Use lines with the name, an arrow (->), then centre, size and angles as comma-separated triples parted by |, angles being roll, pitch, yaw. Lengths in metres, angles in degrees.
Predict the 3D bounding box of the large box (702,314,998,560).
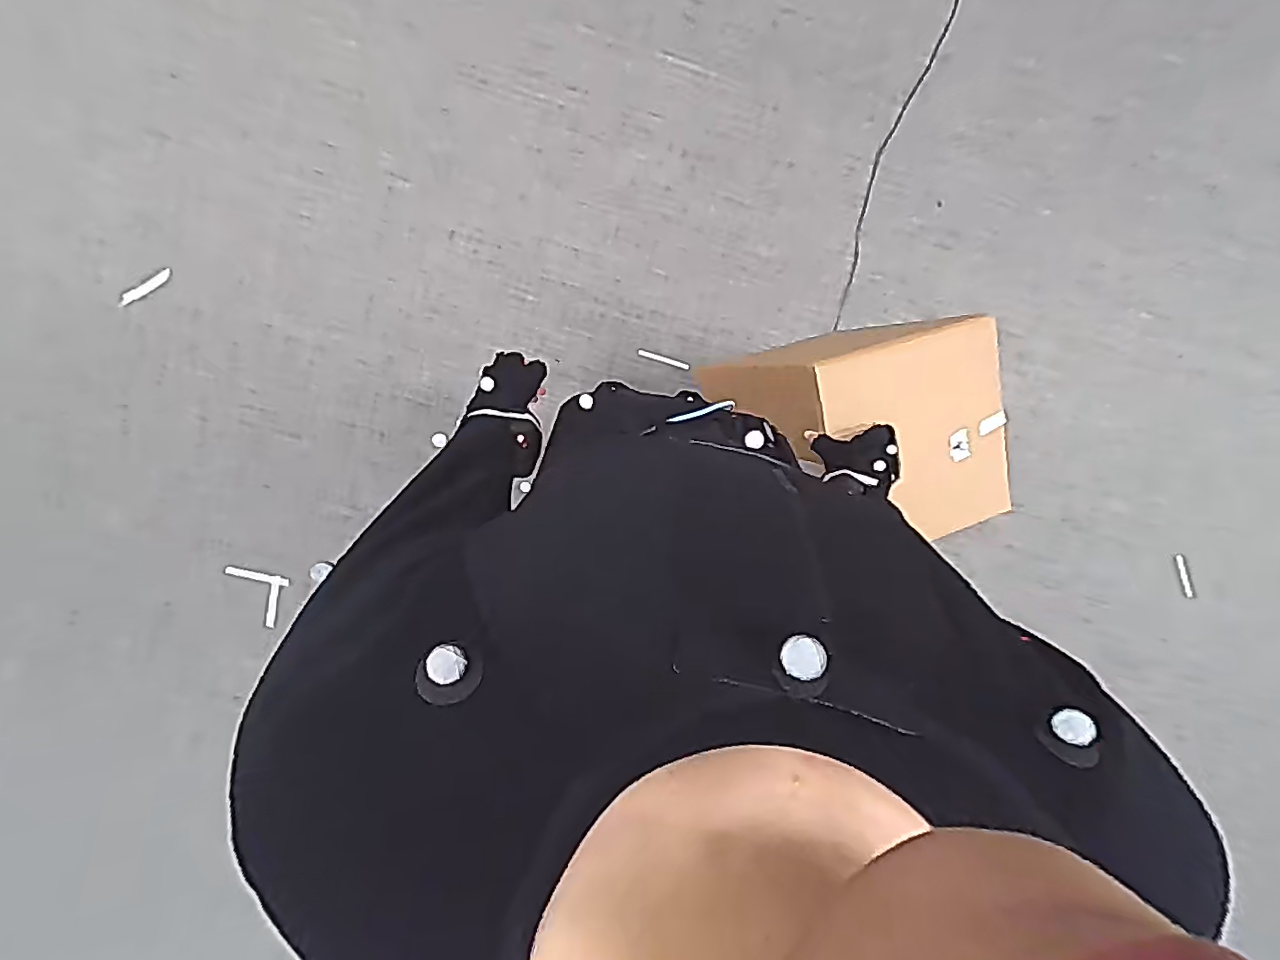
large box -> 0.355, -0.095, 0.994 | 0.320, 0.408, 0.320 | -17, 104, -11
